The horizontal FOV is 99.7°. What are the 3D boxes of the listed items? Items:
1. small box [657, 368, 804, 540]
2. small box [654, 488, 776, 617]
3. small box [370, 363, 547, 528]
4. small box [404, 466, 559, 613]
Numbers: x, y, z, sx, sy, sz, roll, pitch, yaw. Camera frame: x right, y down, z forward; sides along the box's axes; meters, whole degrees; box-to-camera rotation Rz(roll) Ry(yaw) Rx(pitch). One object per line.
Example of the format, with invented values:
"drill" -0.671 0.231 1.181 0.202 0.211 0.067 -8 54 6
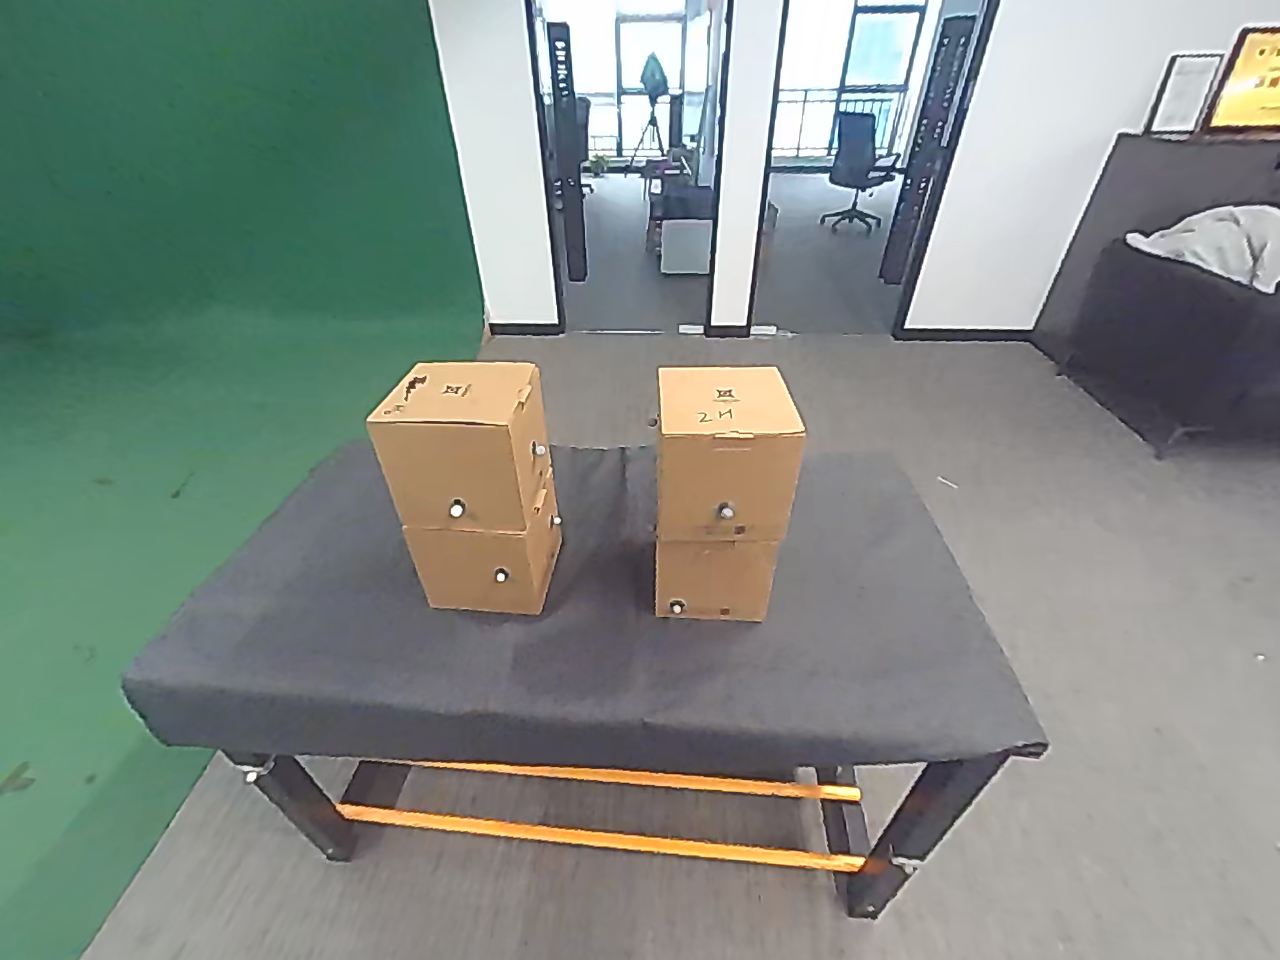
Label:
"small box" 0.108 -0.039 0.732 0.168 0.176 0.179 -1 37 0
"small box" 0.107 0.092 0.833 0.168 0.176 0.179 2 36 3
"small box" -0.232 -0.048 0.750 0.179 0.176 0.168 2 36 3
"small box" -0.230 0.089 0.841 0.179 0.176 0.168 2 36 4
